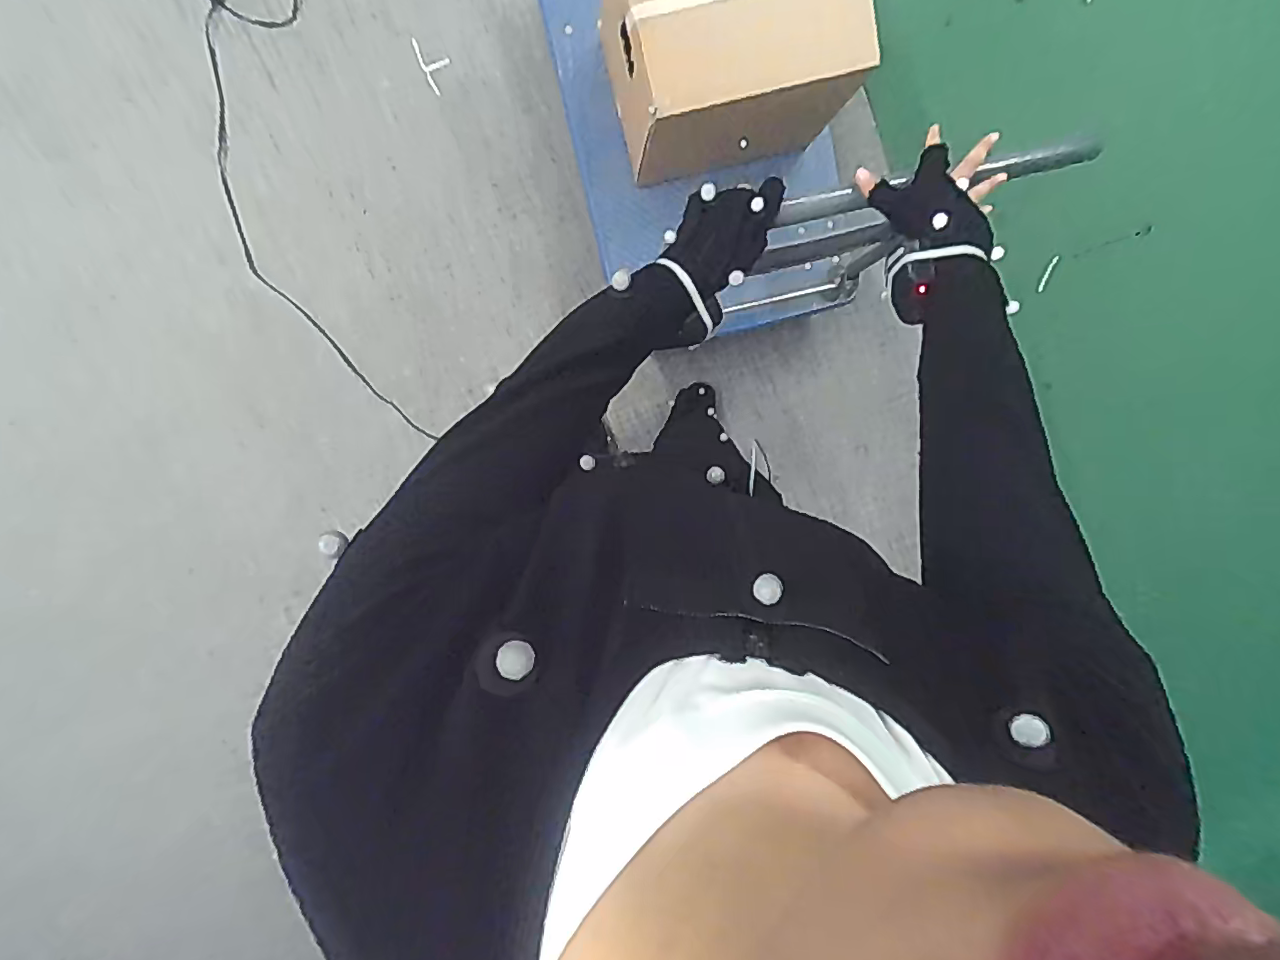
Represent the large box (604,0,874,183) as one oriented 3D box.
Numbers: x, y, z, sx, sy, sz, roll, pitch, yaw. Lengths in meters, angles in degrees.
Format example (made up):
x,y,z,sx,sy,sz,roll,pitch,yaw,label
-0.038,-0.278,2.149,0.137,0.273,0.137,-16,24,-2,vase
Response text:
x,y,z,sx,sy,sz,roll,pitch,yaw,label
0.164,-0.831,1.042,0.408,0.320,0.320,-16,100,-3,large box
